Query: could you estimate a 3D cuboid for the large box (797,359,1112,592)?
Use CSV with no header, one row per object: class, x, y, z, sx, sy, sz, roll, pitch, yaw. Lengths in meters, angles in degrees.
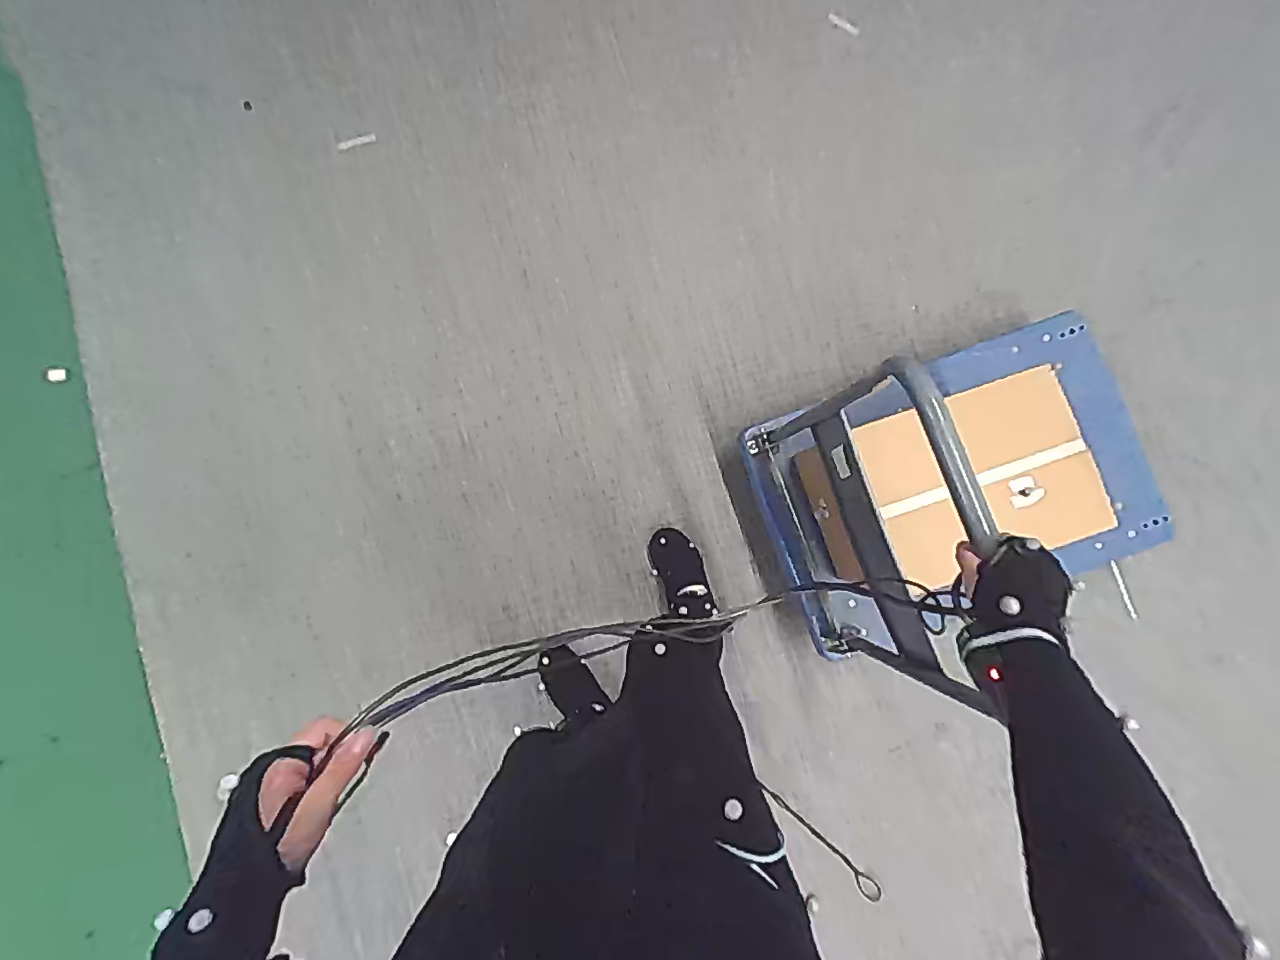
large box,0.598,0.004,1.107,0.408,0.320,0.320,-19,86,-1
